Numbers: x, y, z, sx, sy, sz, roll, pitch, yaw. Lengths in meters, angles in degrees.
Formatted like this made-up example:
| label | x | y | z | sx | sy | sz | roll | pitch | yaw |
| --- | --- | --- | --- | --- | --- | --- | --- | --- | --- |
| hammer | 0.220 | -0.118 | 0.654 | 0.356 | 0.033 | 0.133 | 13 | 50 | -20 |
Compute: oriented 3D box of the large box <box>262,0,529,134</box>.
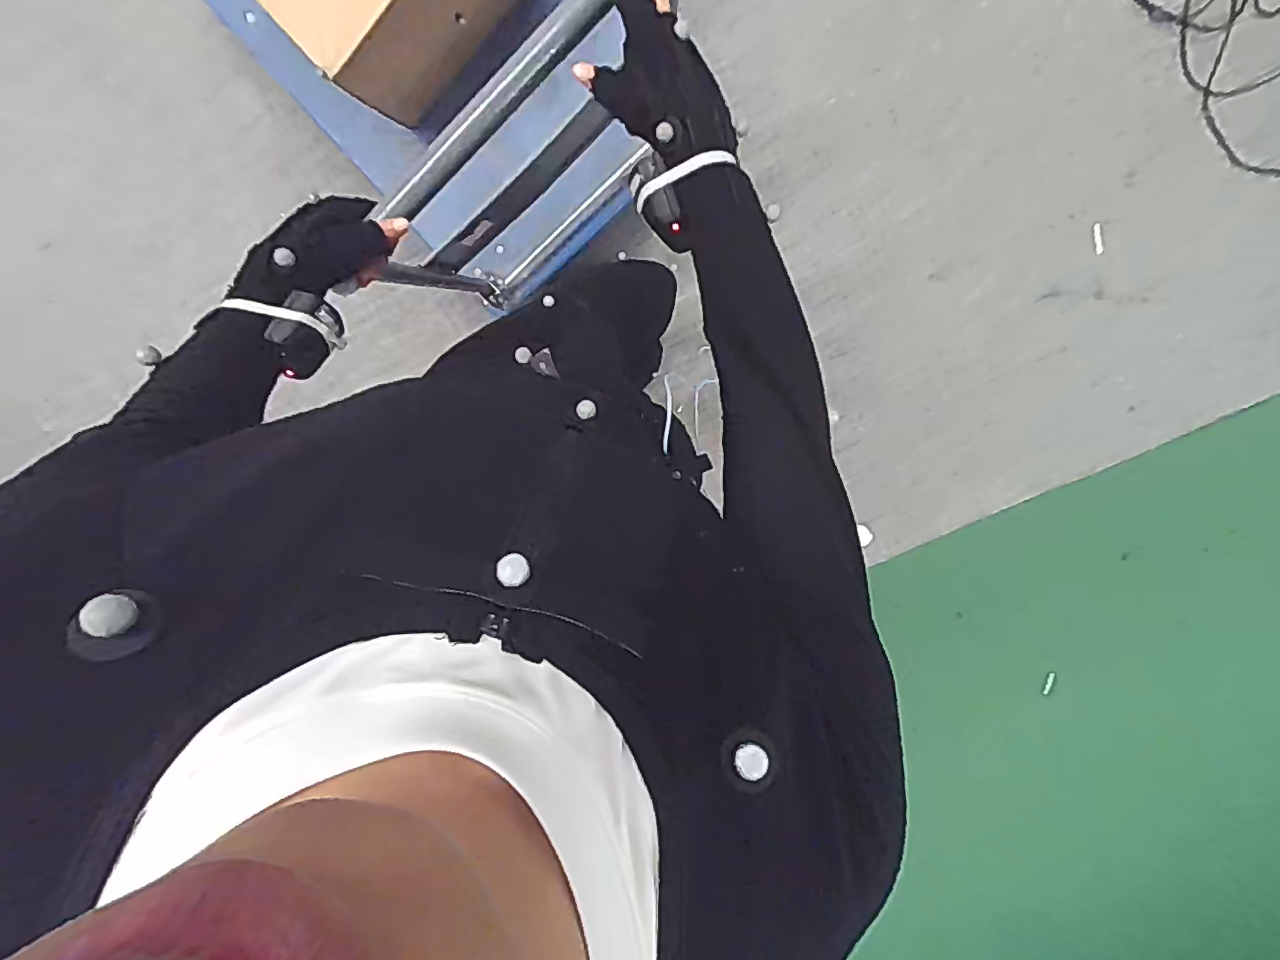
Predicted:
| label | x | y | z | sx | sy | sz | roll | pitch | yaw |
| --- | --- | --- | --- | --- | --- | --- | --- | --- | --- |
| large box | -0.391 | -0.861 | 0.854 | 0.408 | 0.320 | 0.320 | -41 | 105 | 15 |
